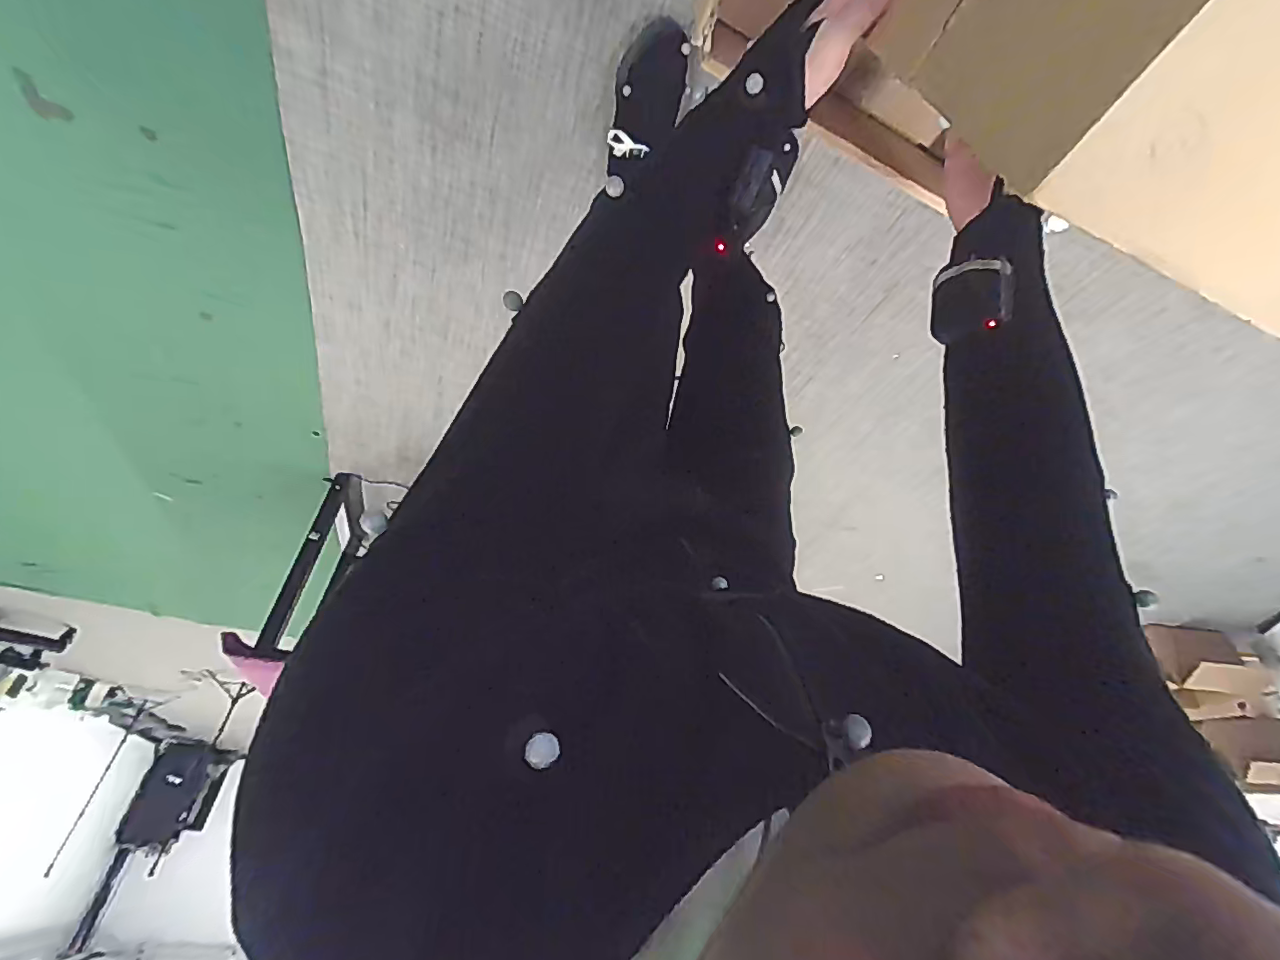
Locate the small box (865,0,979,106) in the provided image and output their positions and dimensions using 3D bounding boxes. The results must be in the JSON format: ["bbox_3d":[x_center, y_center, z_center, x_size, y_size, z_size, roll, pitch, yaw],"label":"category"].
[{"bbox_3d":[0.278,-0.319,0.350,0.179,0.176,0.168,18,138,-16],"label":"small box"}]

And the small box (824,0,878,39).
[{"bbox_3d":[0.282,-0.443,0.457,0.179,0.176,0.168,18,137,-19],"label":"small box"}]
